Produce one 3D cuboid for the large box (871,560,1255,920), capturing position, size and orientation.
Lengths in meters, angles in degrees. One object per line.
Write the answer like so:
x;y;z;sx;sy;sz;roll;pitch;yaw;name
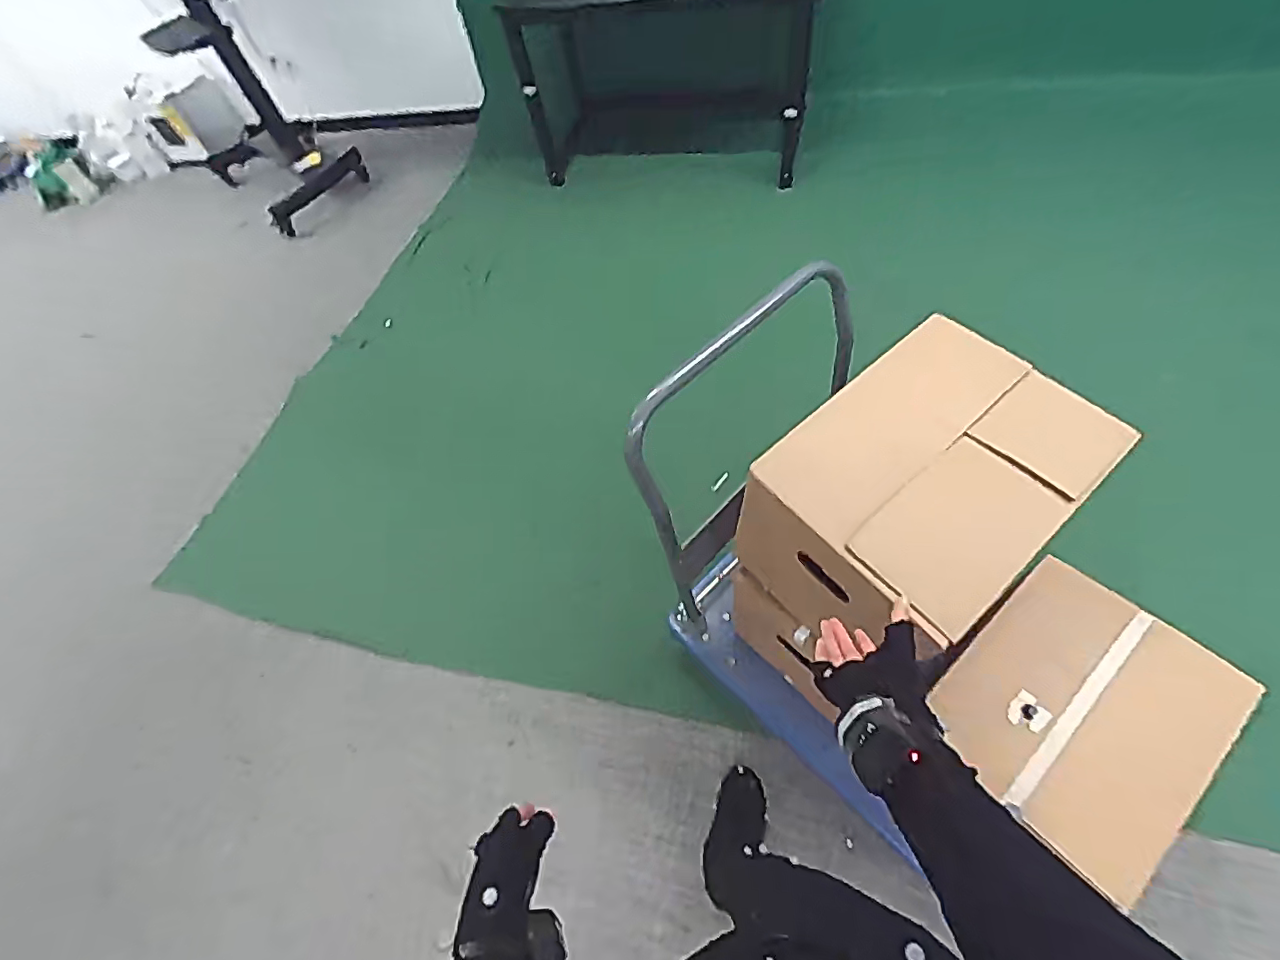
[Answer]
0.673;0.422;0.926;0.408;0.320;0.320;-40;58;-15;large box
